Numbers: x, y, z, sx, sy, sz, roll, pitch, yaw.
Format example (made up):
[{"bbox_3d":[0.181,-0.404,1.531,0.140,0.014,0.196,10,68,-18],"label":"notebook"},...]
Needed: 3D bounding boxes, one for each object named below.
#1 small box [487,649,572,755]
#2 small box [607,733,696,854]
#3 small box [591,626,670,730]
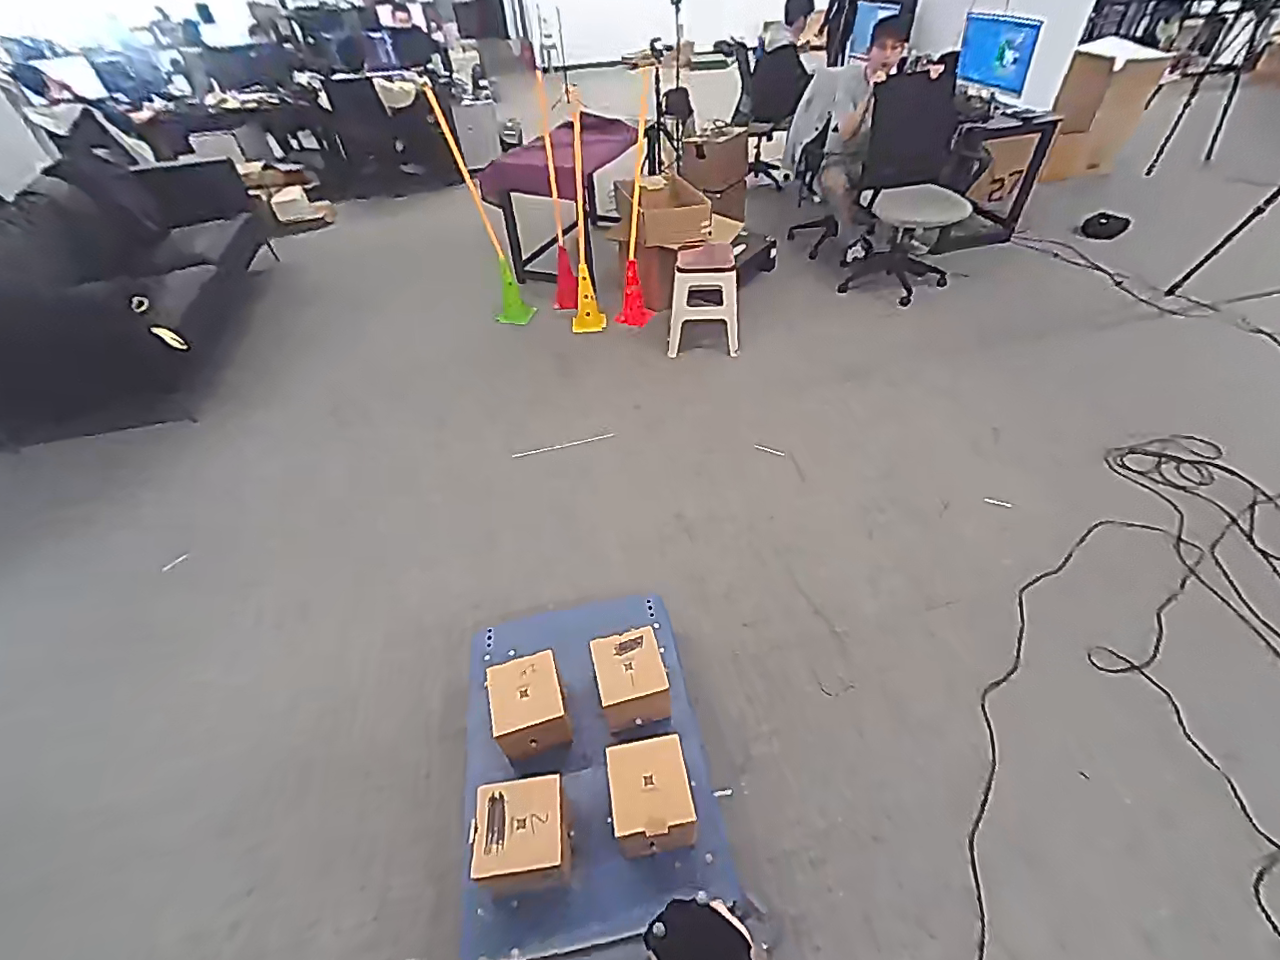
[{"bbox_3d":[-0.272,0.557,1.342,0.168,0.176,0.179,-13,45,-11],"label":"small box"},{"bbox_3d":[0.022,0.690,1.189,0.168,0.176,0.179,-9,45,-5],"label":"small box"},{"bbox_3d":[-0.025,0.506,1.379,0.168,0.176,0.179,-12,46,-8],"label":"small box"}]
